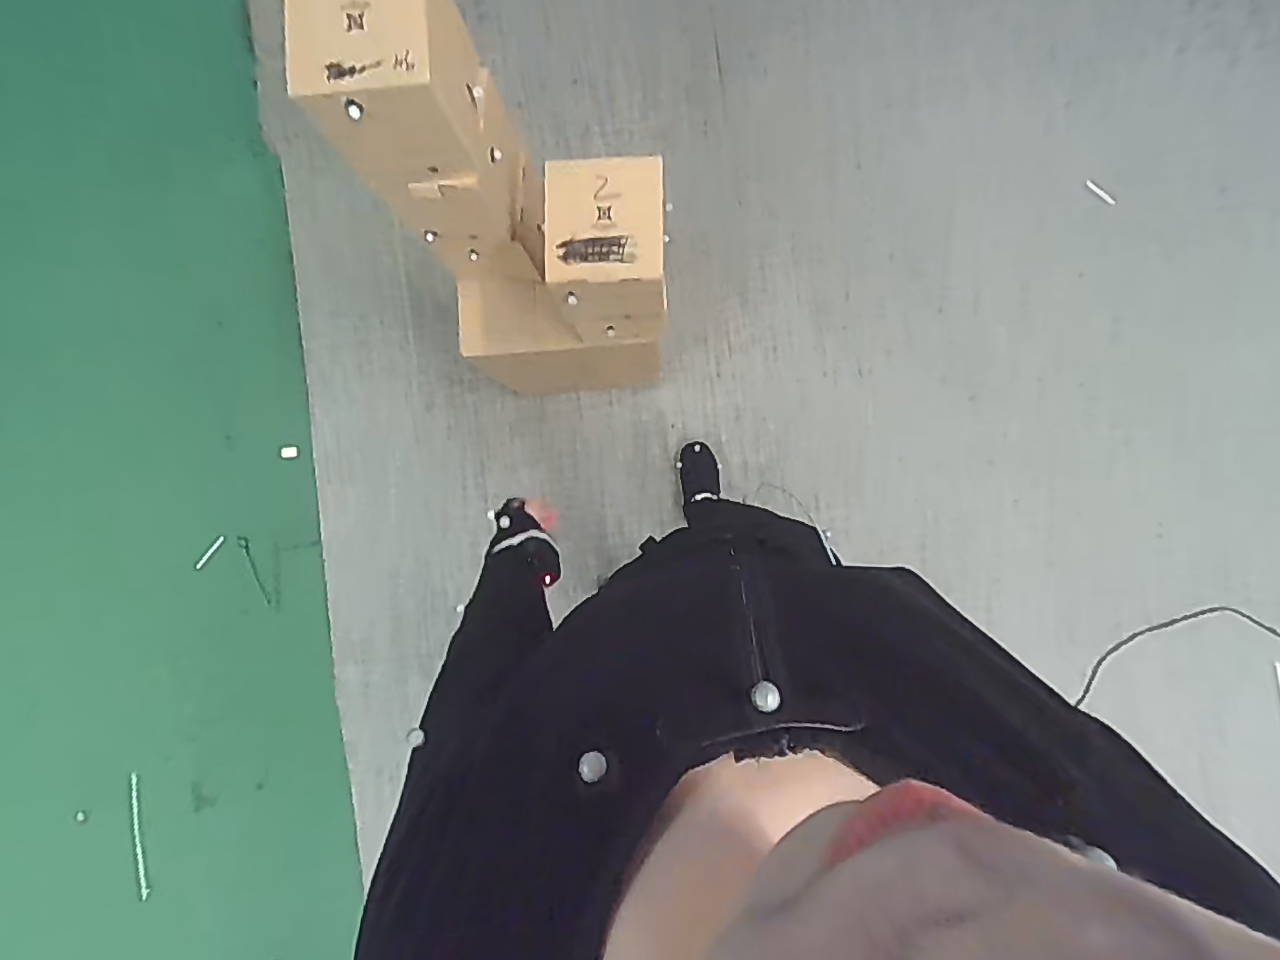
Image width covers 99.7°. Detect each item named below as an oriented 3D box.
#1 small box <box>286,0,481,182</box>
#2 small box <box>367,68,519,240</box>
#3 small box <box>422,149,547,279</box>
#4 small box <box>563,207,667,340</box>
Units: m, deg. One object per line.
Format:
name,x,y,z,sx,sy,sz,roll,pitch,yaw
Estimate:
small box,-0.311,-0.515,0.686,0.168,0.176,0.179,-3,86,4
small box,-0.297,-0.500,0.849,0.168,0.176,0.179,4,86,4
small box,-0.282,-0.491,1.013,0.179,0.176,0.168,3,88,3
small box,-0.039,-0.364,0.992,0.168,0.176,0.179,-6,87,3
